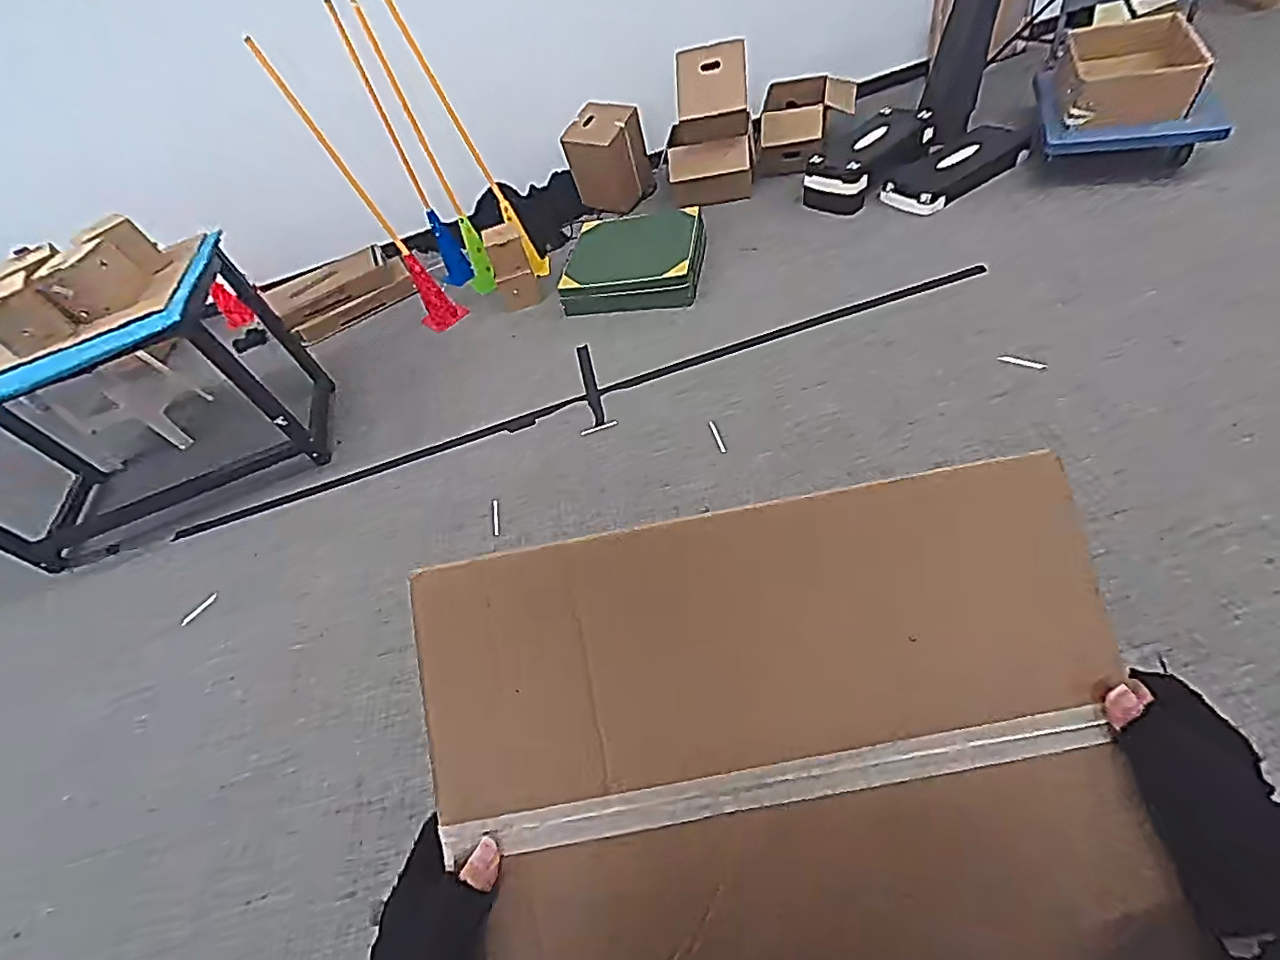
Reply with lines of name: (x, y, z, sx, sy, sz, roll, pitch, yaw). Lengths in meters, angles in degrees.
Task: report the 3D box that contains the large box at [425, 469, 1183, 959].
large box: (0.093, 0.198, 0.471, 0.408, 0.320, 0.320, -12, 82, 1)
